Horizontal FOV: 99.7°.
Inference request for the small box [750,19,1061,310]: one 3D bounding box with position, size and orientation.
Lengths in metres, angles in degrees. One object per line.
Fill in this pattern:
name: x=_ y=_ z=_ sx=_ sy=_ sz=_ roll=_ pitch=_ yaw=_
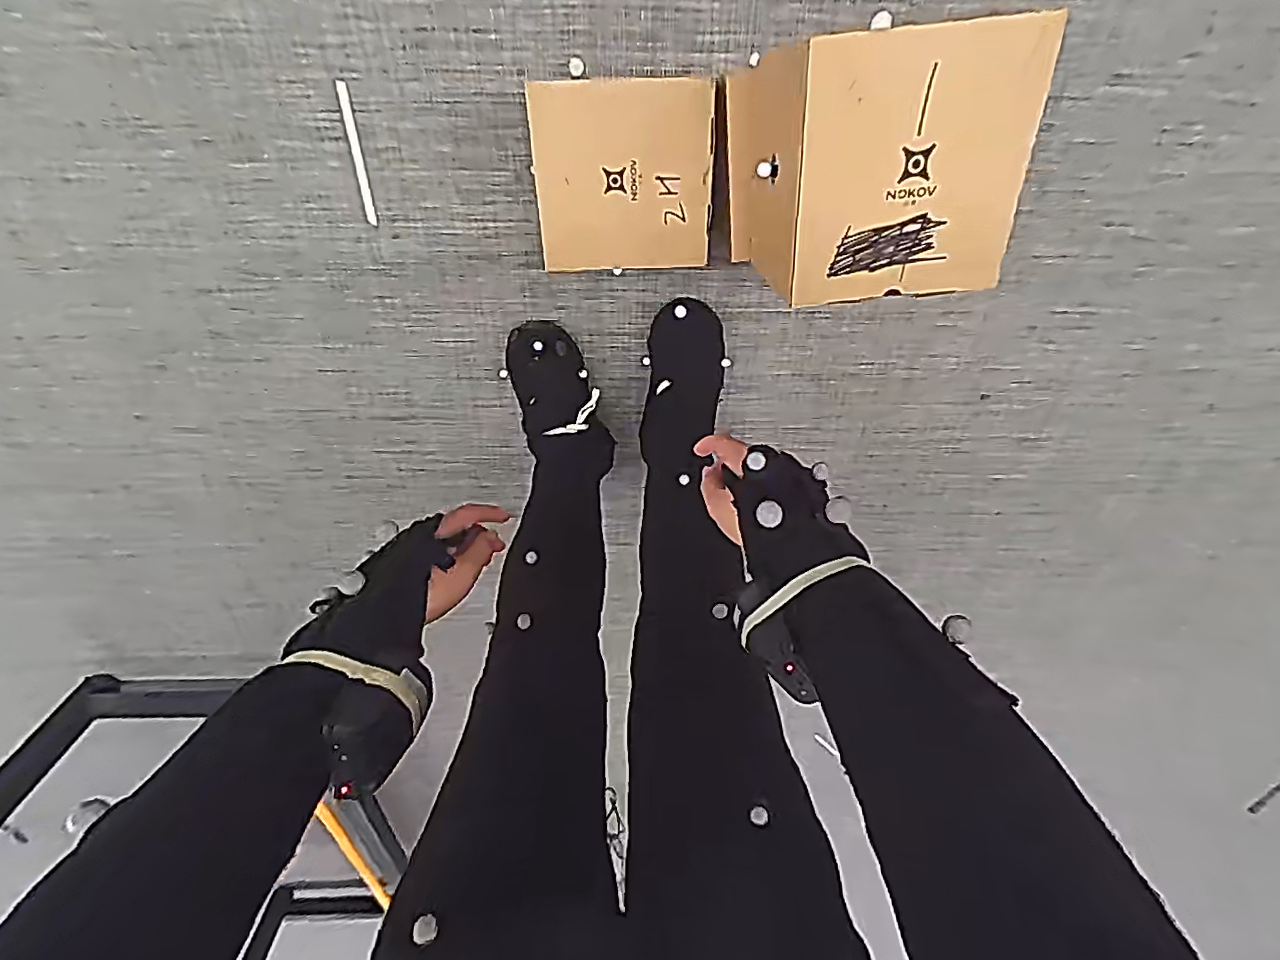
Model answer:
small box: x=0.192 y=-0.260 z=0.457 sx=0.168 sy=0.176 sz=0.179 roll=-5 pitch=123 yaw=1
